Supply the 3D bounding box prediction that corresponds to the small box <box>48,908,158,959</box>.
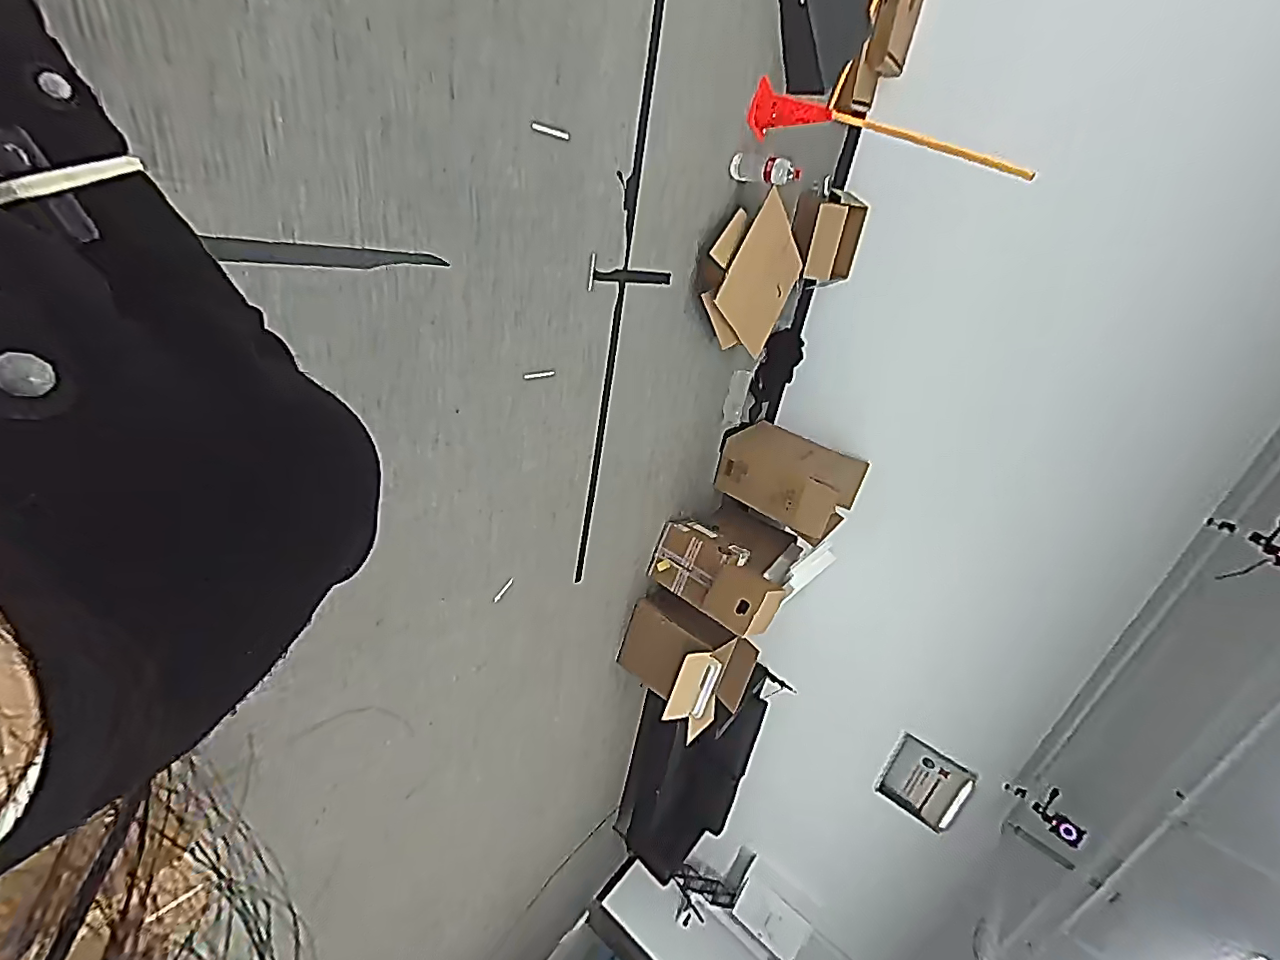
[{"bbox_3d":[-1.247,1.163,1.256,0.179,0.176,0.168,-22,130,-47],"label":"small box"}]
